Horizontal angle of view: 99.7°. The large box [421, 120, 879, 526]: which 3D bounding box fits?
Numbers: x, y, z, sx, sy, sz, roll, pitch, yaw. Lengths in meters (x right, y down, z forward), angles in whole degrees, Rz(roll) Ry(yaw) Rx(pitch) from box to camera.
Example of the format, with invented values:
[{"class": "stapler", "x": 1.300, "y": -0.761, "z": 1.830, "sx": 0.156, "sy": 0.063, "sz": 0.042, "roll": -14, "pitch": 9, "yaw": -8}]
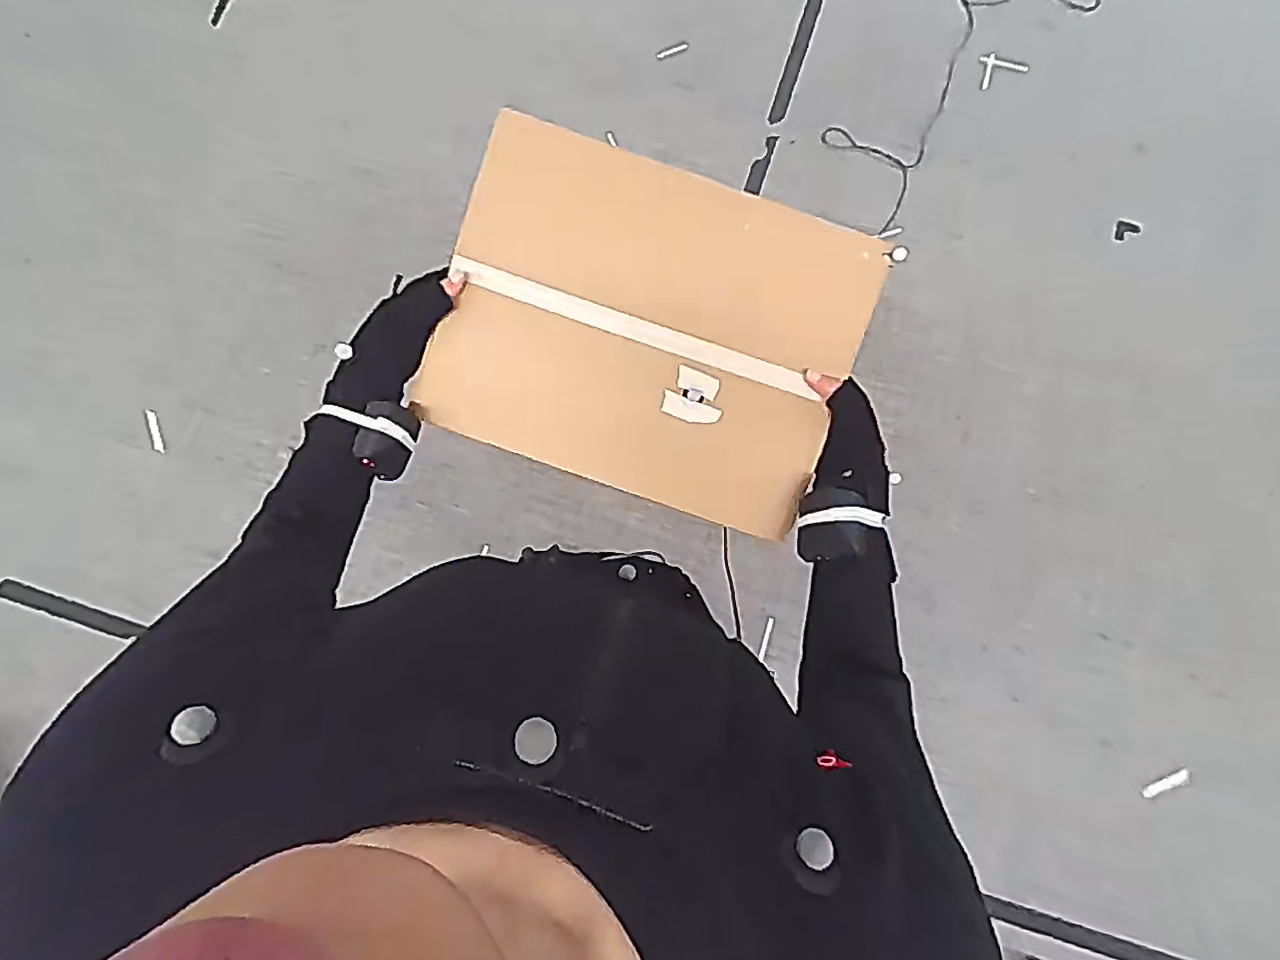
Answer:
[{"class": "large box", "x": 0.005, "y": -0.165, "z": 0.695, "sx": 0.408, "sy": 0.320, "sz": 0.320, "roll": 19, "pitch": 95, "yaw": -2}]
